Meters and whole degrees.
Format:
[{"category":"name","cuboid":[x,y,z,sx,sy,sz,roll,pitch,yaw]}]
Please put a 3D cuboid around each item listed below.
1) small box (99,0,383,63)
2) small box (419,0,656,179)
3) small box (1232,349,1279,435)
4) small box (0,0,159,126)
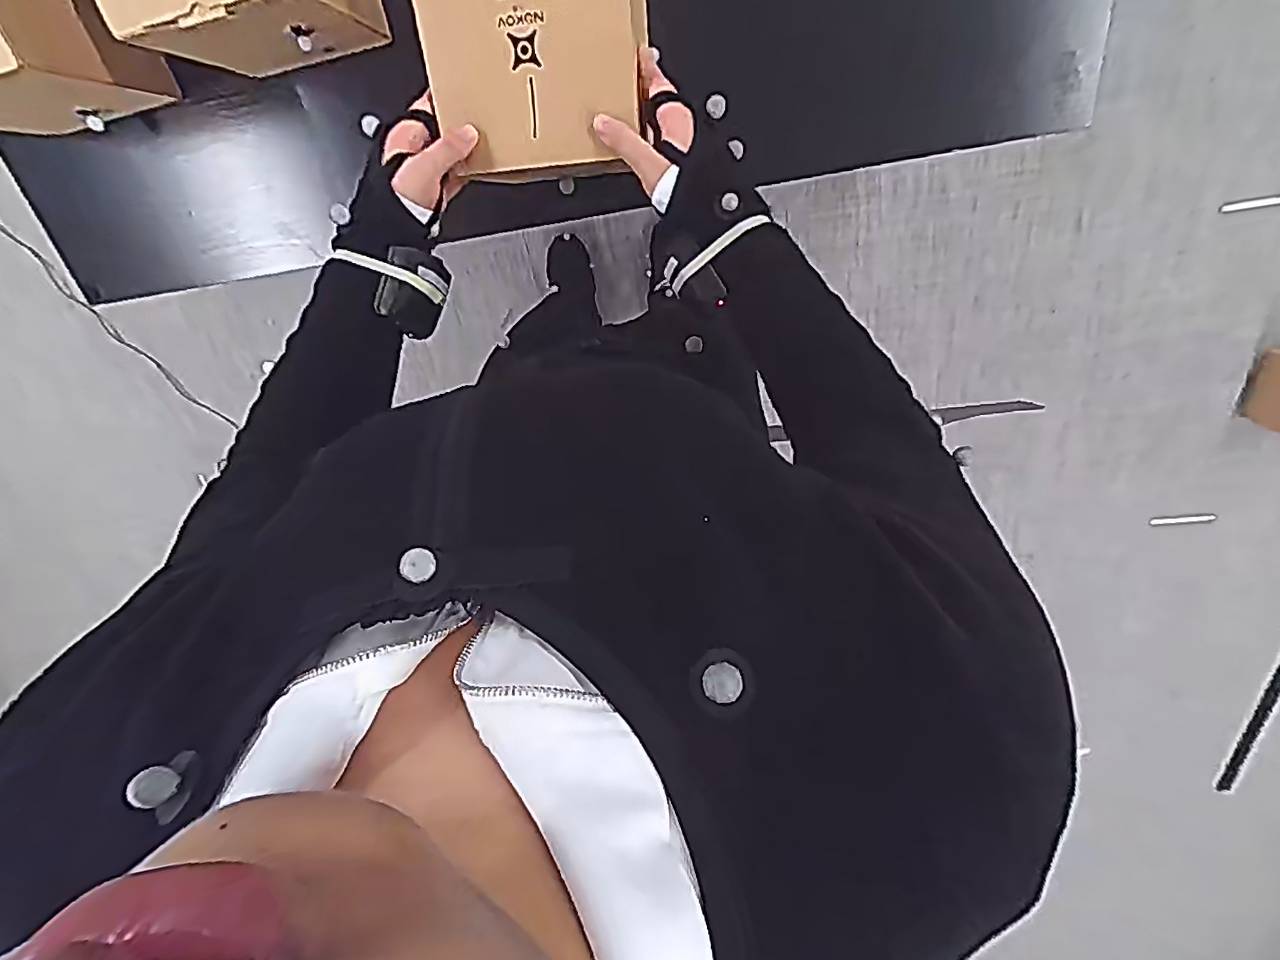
[{"category":"small box","cuboid":[-0.355,-0.486,0.461,0.168,0.176,0.179,-7,116,8]},{"category":"small box","cuboid":[-0.076,-0.374,0.478,0.168,0.176,0.179,-1,118,7]},{"category":"small box","cuboid":[1.541,-0.205,1.243,0.168,0.176,0.179,-5,118,10]},{"category":"small box","cuboid":[-0.612,-0.450,0.503,0.179,0.176,0.168,-8,116,9]}]
